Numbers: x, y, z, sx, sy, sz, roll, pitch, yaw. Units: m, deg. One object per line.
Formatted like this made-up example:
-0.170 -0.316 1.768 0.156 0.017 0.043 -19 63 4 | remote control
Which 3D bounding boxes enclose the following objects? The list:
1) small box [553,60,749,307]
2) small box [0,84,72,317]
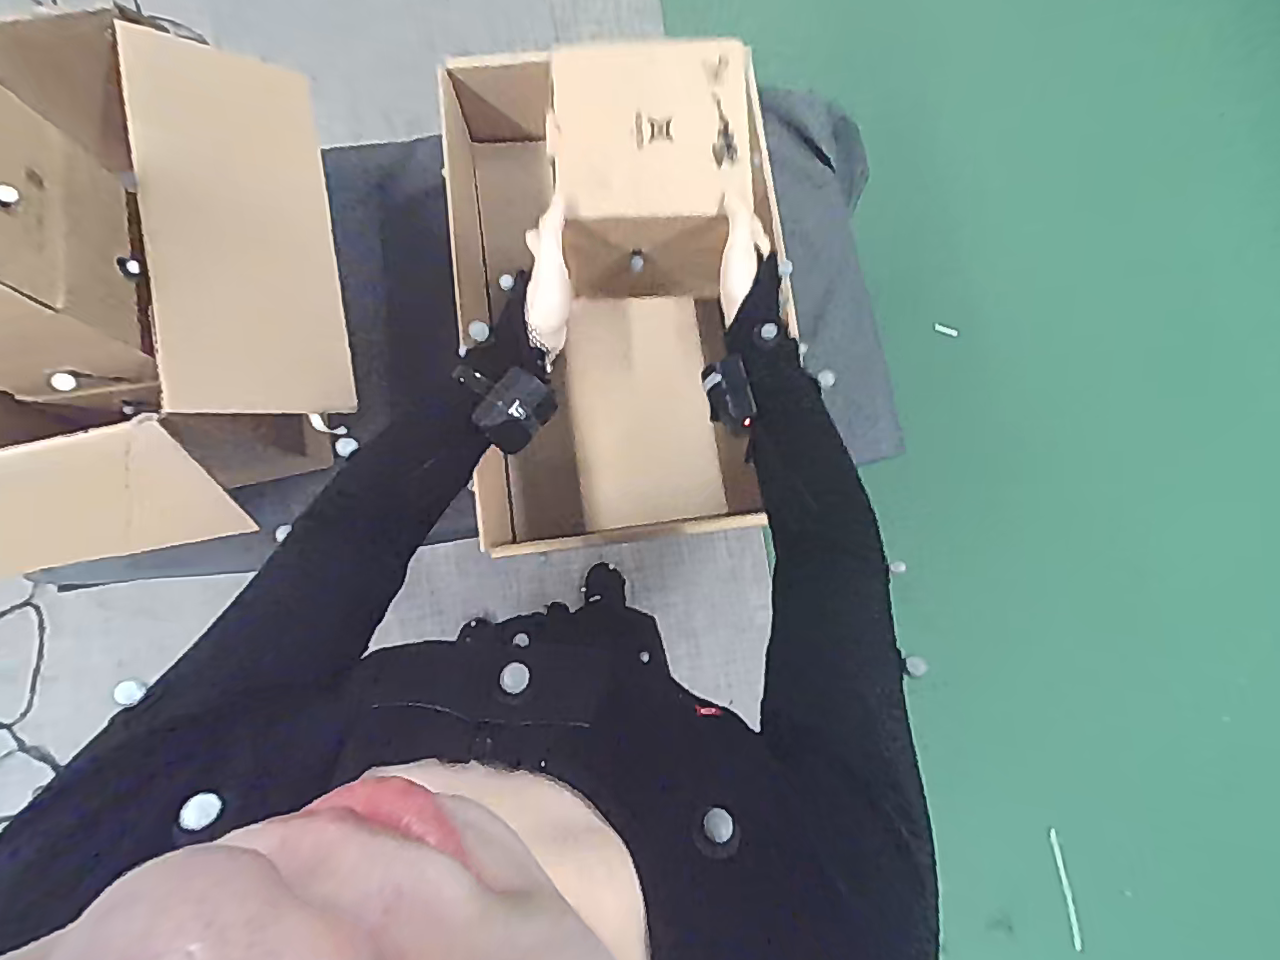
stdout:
0.010 -0.294 0.570 0.179 0.176 0.168 -2 83 0 | small box
-0.553 -0.217 0.361 0.179 0.176 0.168 -8 82 -10 | small box
